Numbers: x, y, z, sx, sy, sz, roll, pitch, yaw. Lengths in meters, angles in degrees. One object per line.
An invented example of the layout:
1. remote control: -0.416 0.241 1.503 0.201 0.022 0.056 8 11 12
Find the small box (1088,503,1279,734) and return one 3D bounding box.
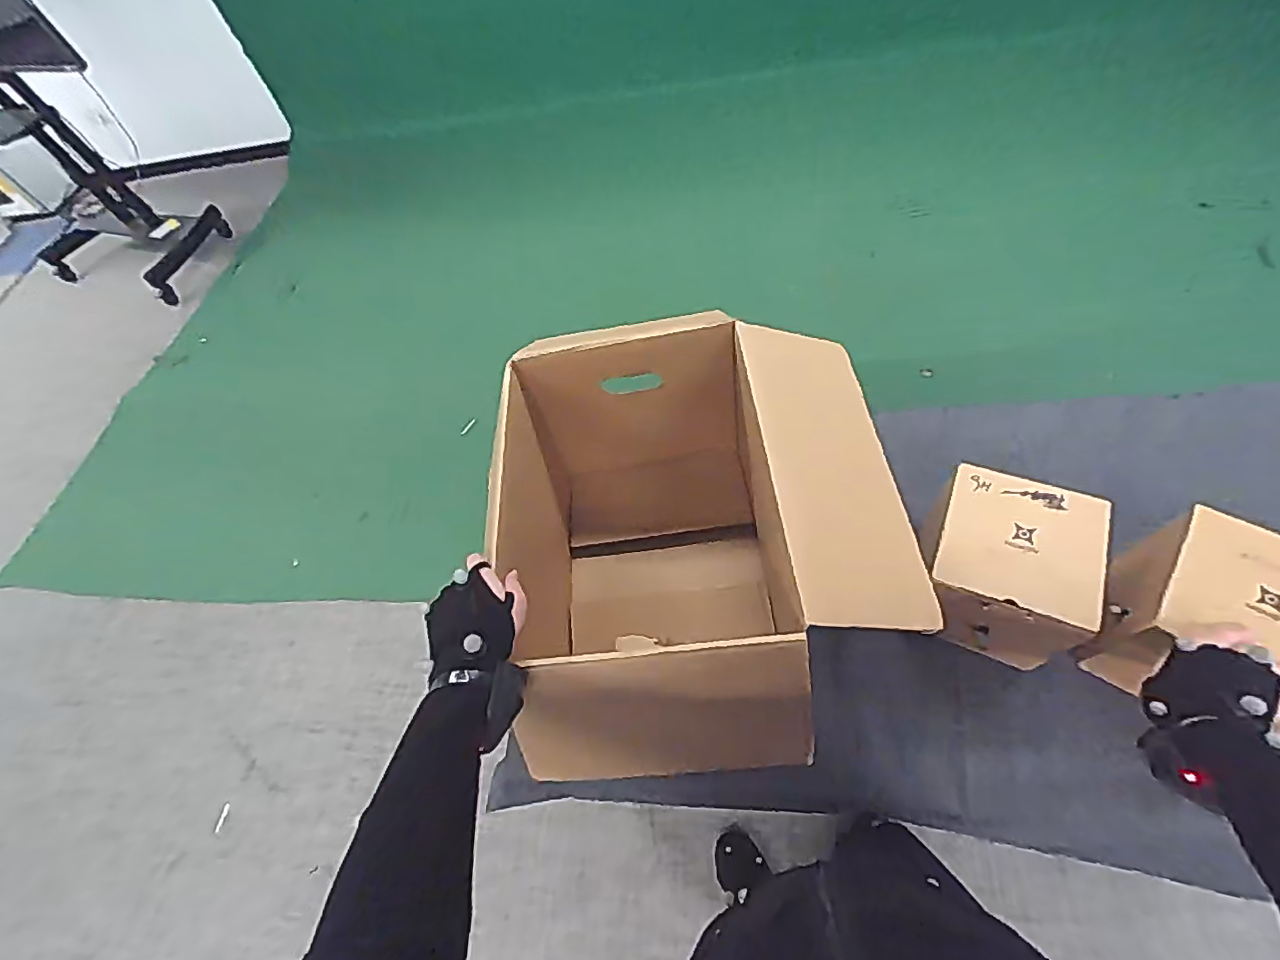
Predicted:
1. small box: 0.668 0.165 0.624 0.168 0.176 0.179 29 68 24
